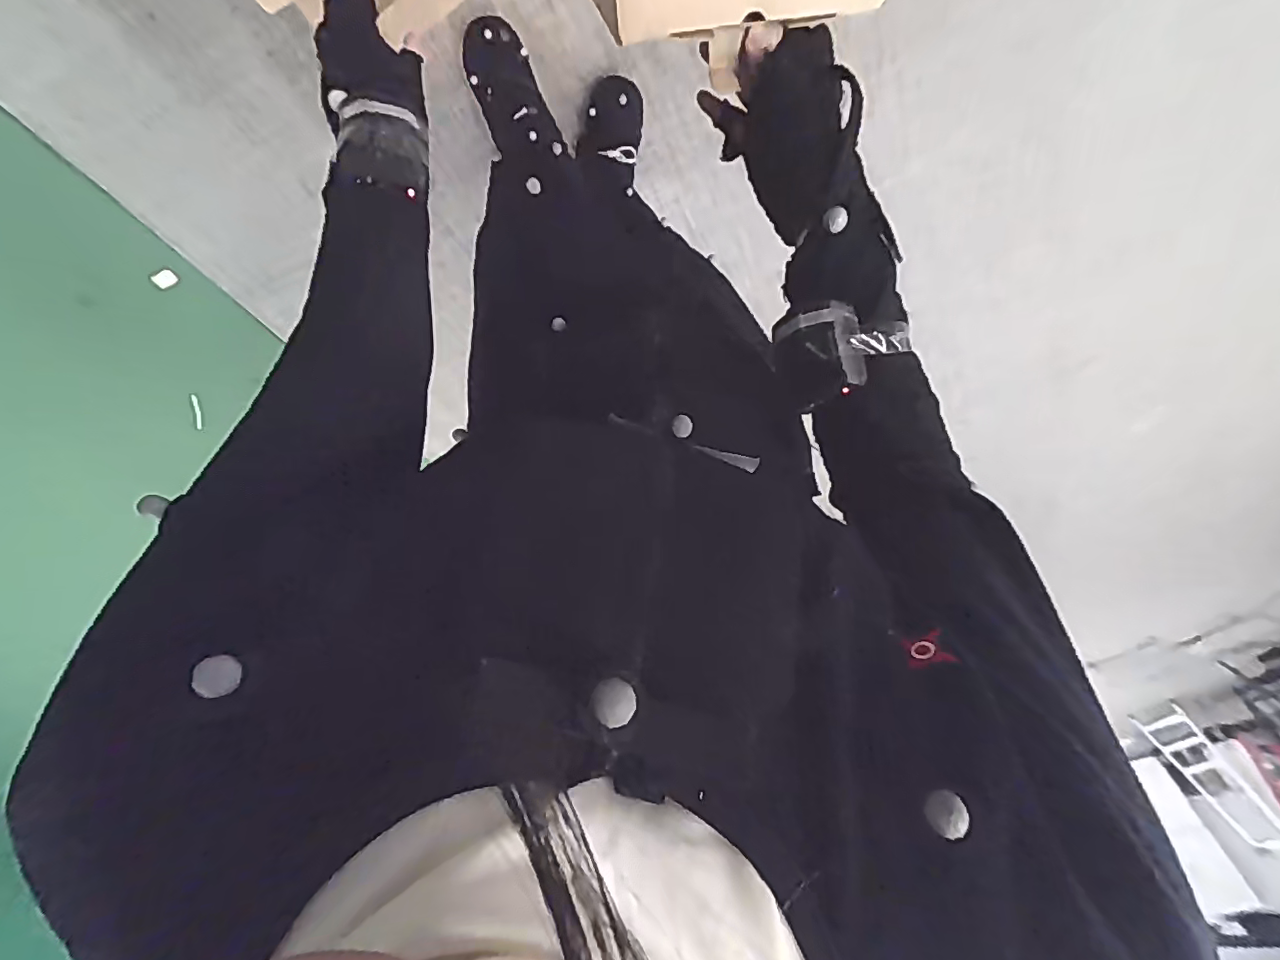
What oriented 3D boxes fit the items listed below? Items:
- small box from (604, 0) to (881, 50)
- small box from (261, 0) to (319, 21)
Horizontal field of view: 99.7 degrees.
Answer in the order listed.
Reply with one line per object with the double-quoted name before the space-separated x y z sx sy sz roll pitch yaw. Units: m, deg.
"small box" 0.050 -0.389 0.311 0.168 0.176 0.179 -11 143 -4
"small box" -0.260 -0.501 0.401 0.168 0.176 0.179 -22 137 15
